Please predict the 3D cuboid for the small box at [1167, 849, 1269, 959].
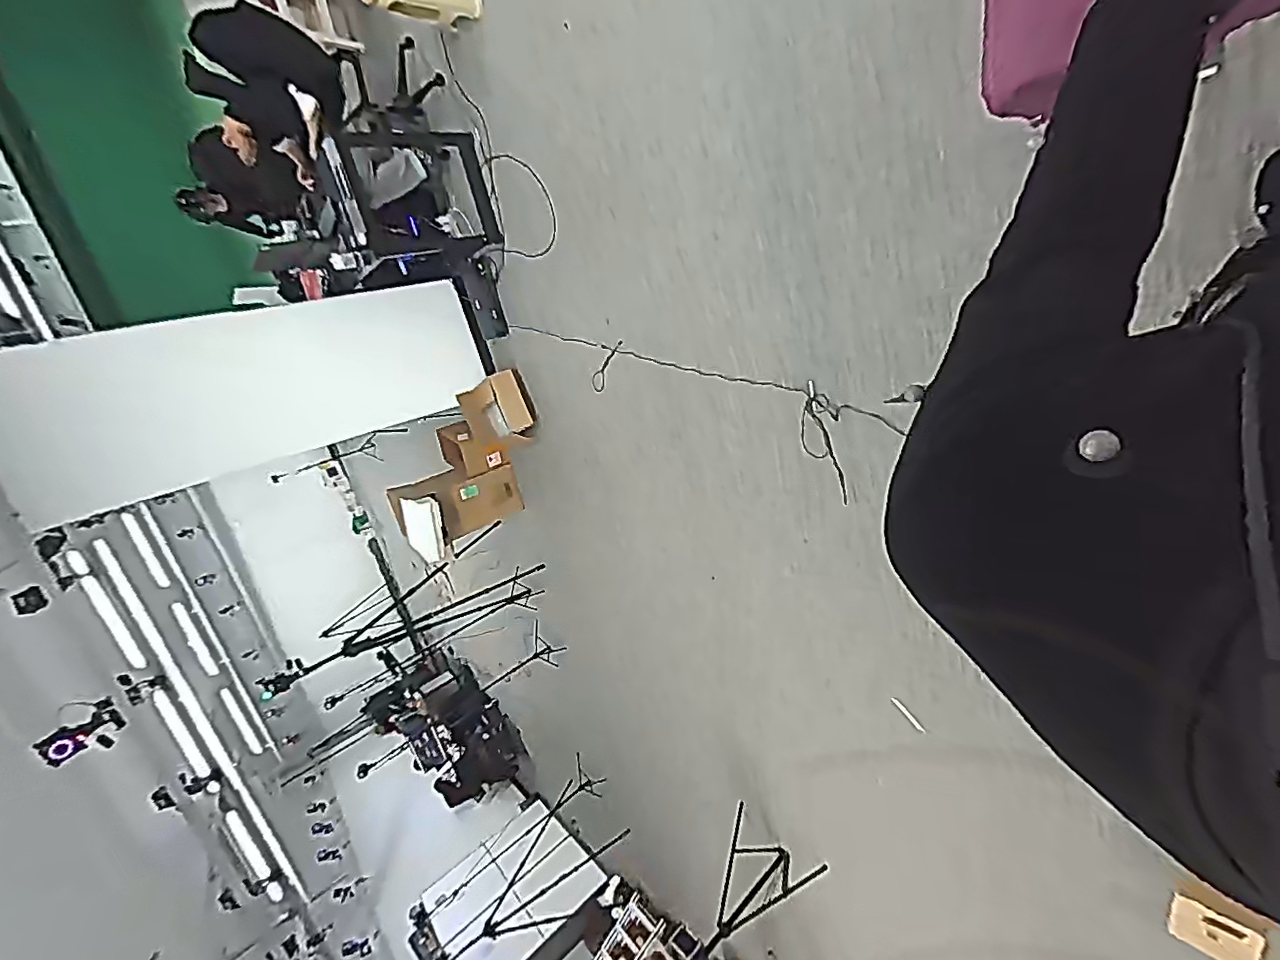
[{"bbox_3d":[1.579,1.169,1.477,0.168,0.176,0.179,12,122,50],"label":"small box"}]
